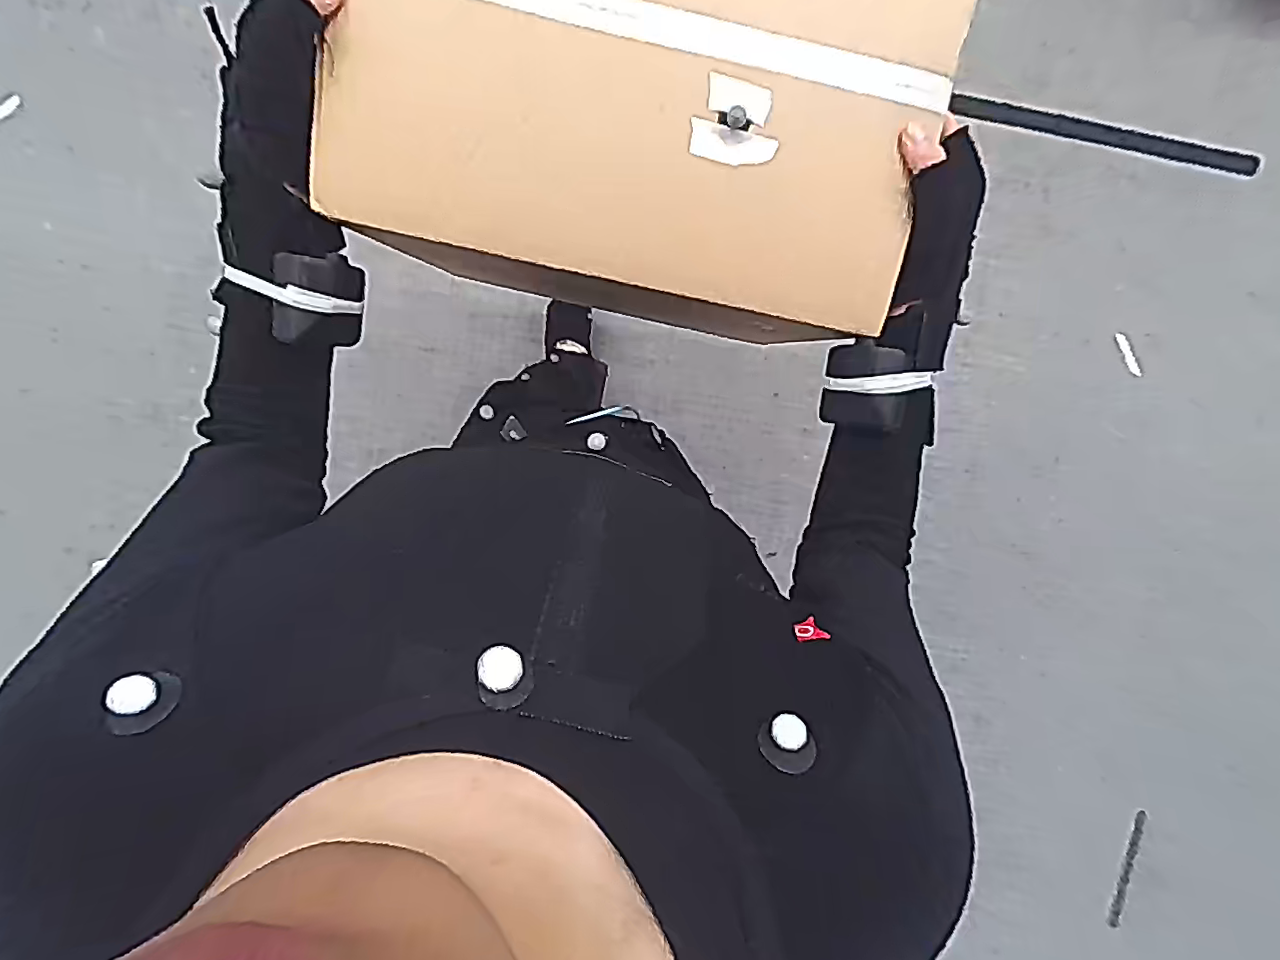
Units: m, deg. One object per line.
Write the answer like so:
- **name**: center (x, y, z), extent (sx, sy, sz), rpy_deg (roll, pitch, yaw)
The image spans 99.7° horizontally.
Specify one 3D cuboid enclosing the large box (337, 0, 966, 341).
- **large box**: center (0.003, -0.325, 0.504), extent (0.408, 0.320, 0.320), rpy_deg (11, 103, -5)
